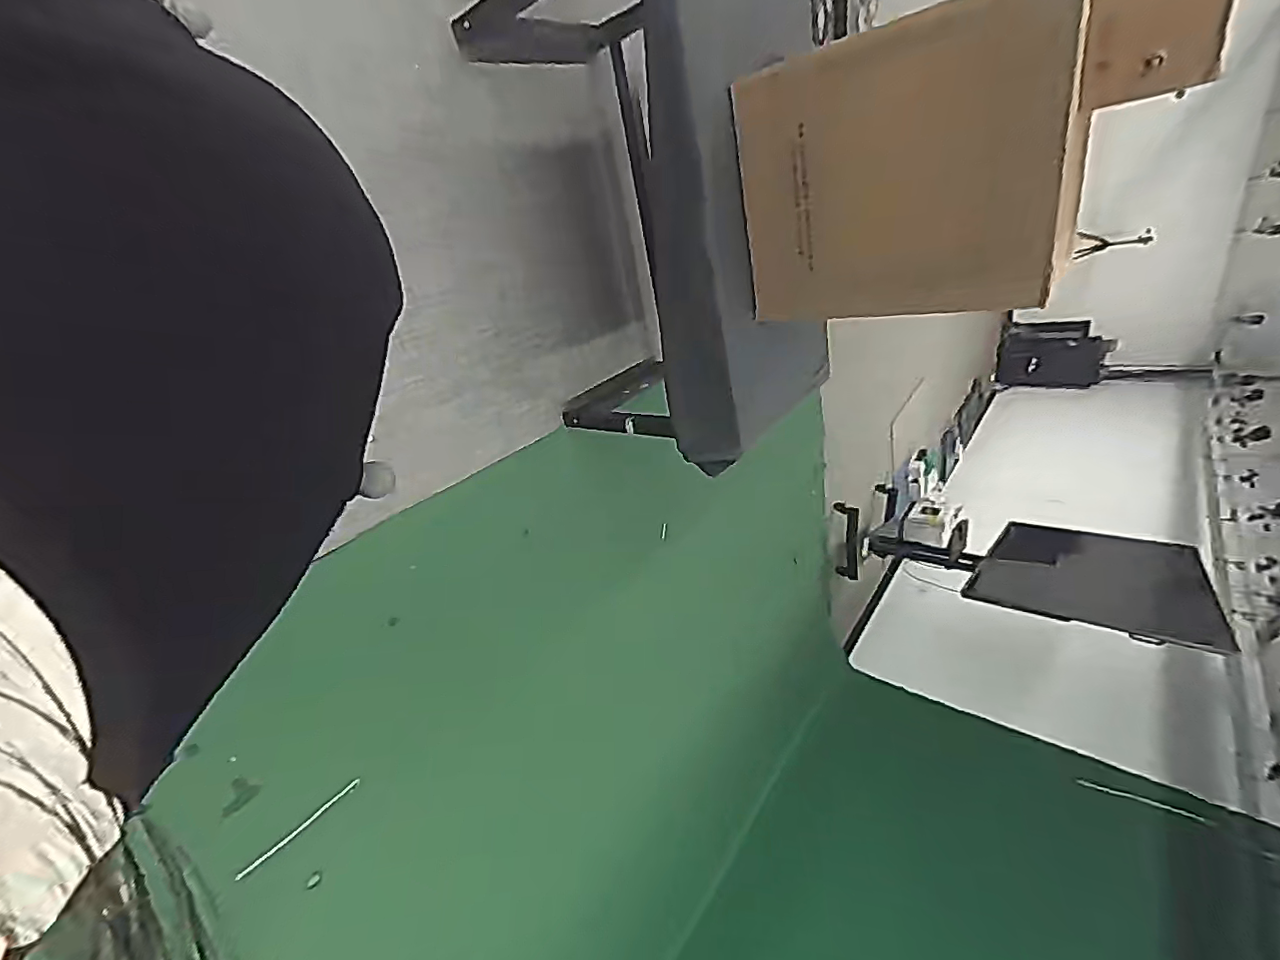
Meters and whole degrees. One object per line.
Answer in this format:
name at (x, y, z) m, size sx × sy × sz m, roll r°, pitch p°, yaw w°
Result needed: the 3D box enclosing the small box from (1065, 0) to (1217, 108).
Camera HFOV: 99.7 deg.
small box at (0.813, -0.729, 0.880) m, size 0.179 × 0.176 × 0.168 m, roll -40°, pitch 127°, yaw -38°
